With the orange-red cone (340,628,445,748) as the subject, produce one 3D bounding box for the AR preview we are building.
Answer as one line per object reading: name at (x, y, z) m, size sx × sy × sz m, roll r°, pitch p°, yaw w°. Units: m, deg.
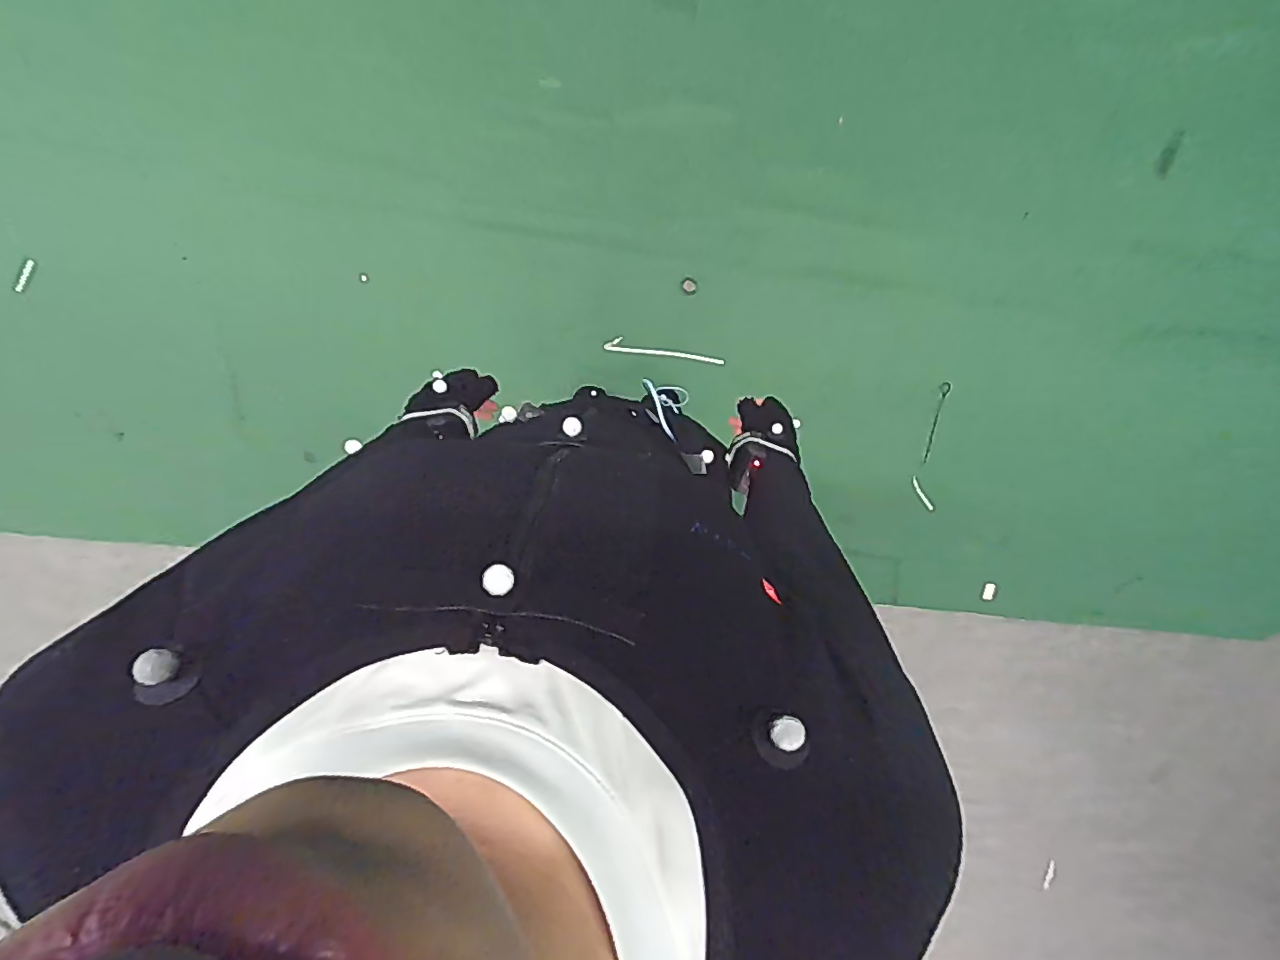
orange-red cone at (-0.664, 0.561, 1.399) m, size 0.198 × 0.360 × 0.199 m, roll 6°, pitch 101°, yaw -2°
